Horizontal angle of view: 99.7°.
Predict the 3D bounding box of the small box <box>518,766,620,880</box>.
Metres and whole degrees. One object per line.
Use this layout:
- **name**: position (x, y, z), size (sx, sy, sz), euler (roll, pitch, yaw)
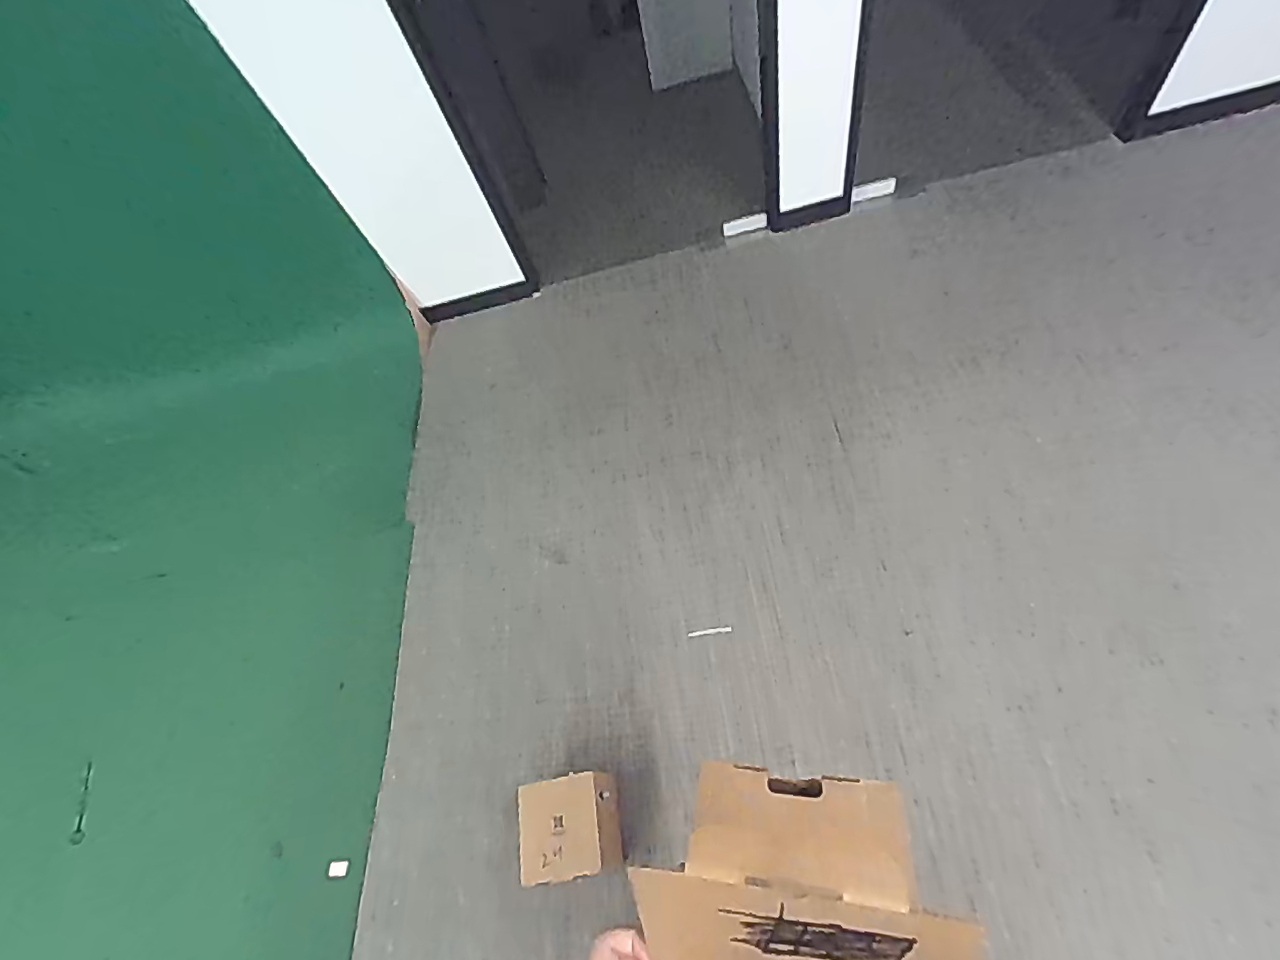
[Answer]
- **small box**: position (-0.147, 0.716, 1.135), size (0.168, 0.176, 0.179), euler (-14, 57, 7)
